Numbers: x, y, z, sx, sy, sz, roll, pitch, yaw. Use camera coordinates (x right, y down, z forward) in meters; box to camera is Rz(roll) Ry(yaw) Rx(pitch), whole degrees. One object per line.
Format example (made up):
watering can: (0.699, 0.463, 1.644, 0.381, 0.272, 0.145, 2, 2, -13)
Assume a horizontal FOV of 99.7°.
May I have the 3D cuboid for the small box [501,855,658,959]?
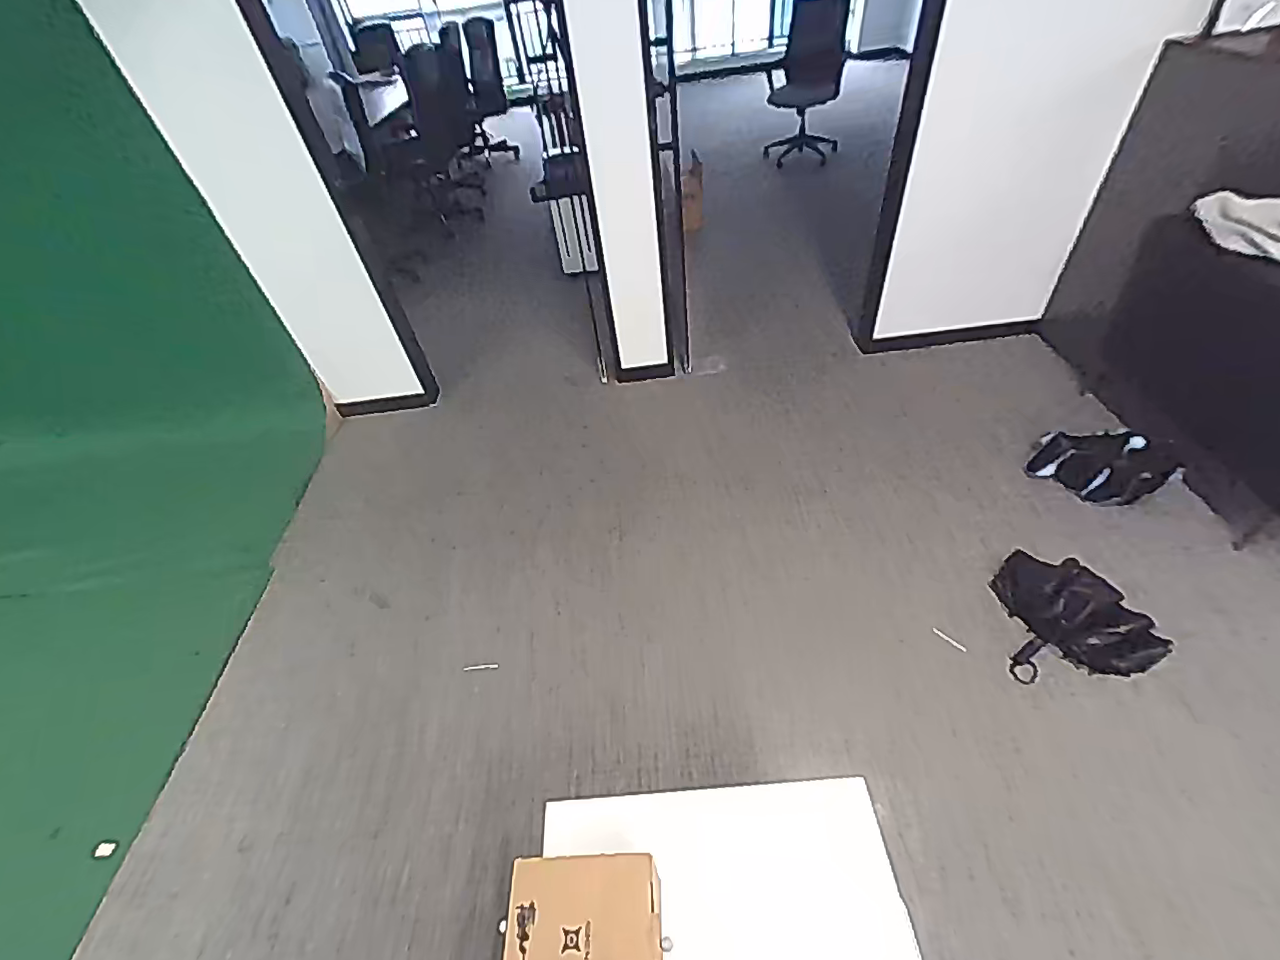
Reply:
small box: (-0.066, 0.581, 0.672, 0.179, 0.176, 0.168, -4, 45, 2)
